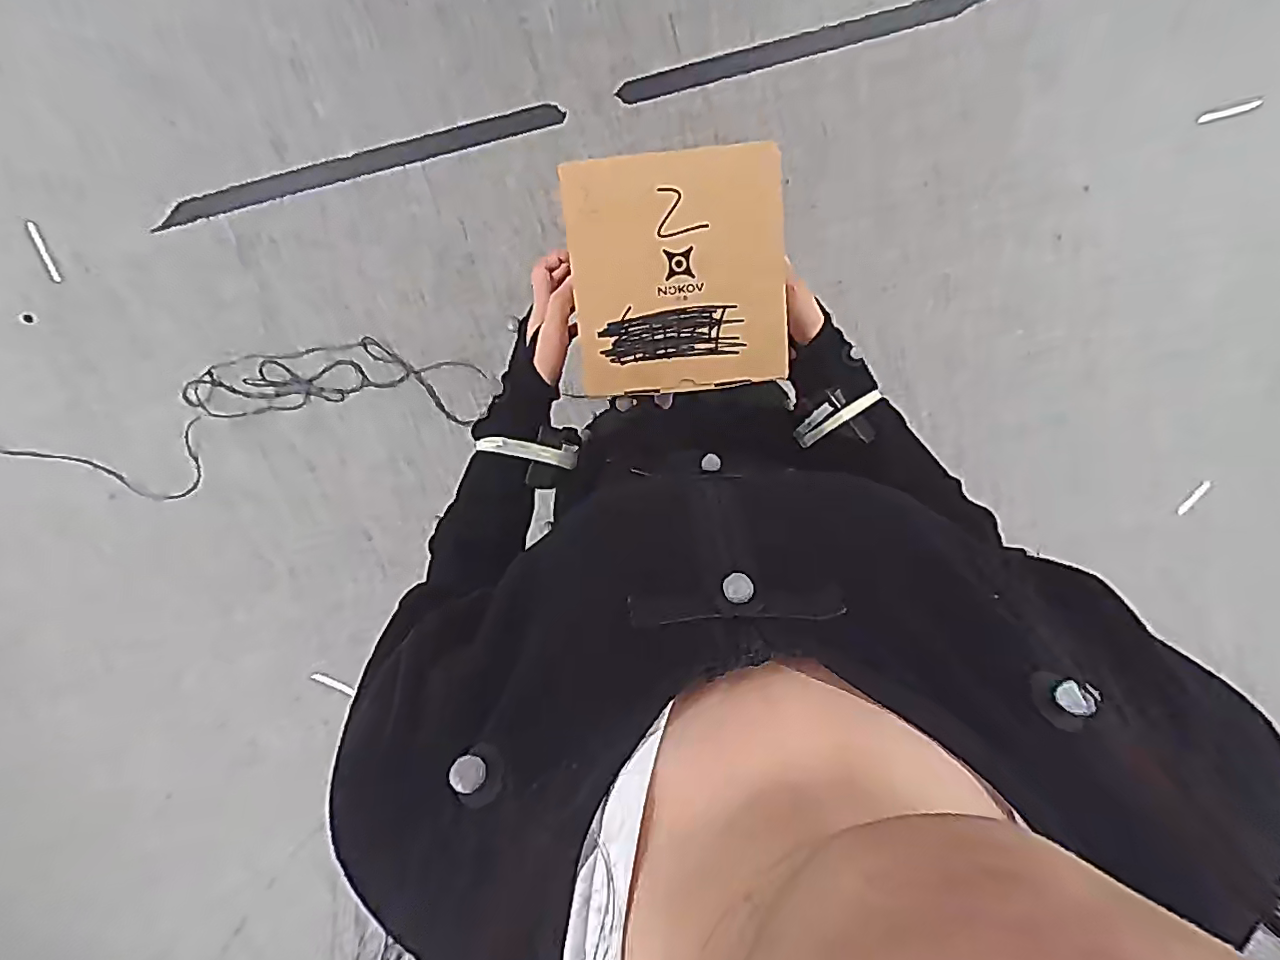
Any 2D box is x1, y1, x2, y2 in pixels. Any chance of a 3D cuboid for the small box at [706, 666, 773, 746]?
[{"bbox_3d":[0.297,0.684,1.622,0.179,0.176,0.168,-9,104,-1],"label":"small box"}]
